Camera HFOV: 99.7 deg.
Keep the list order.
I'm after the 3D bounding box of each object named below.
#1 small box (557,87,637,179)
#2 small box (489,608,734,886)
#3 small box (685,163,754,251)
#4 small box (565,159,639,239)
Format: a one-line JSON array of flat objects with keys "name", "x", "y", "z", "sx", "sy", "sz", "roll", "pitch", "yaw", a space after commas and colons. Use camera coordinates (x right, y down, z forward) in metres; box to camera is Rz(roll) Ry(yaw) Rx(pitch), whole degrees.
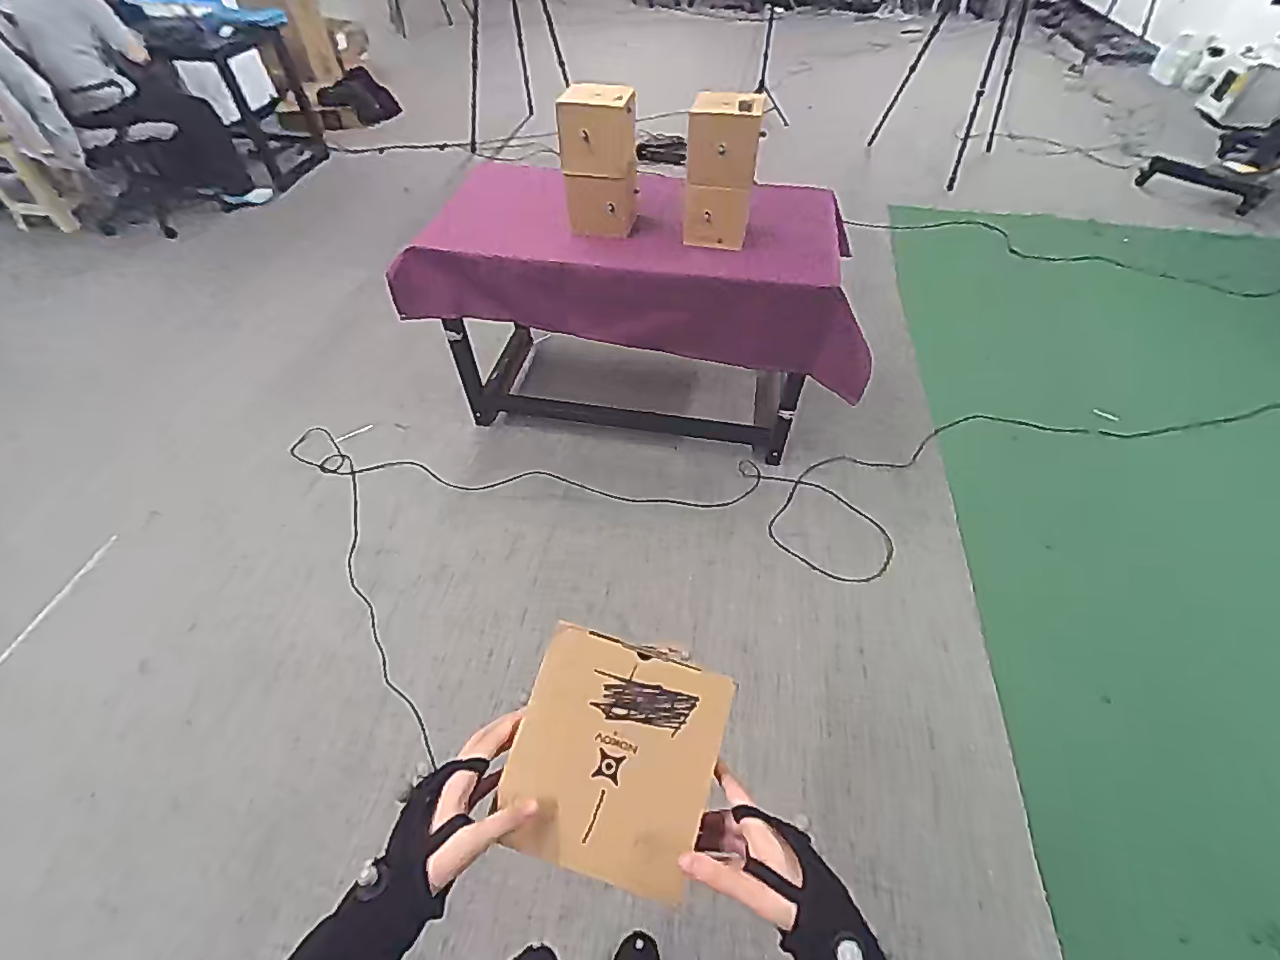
[{"name": "small box", "x": -0.108, "y": -0.927, "z": 1.447, "sx": 0.179, "sy": 0.176, "sz": 0.168, "roll": 9, "pitch": 51, "yaw": 7}, {"name": "small box", "x": -0.024, "y": 0.238, "z": 0.527, "sx": 0.168, "sy": 0.176, "sz": 0.179, "roll": 18, "pitch": 74, "yaw": 3}, {"name": "small box", "x": 0.224, "y": -0.770, "z": 1.531, "sx": 0.168, "sy": 0.176, "sz": 0.179, "roll": 10, "pitch": 50, "yaw": 8}, {"name": "small box", "x": -0.104, "y": -0.823, "z": 1.574, "sx": 0.179, "sy": 0.176, "sz": 0.168, "roll": 9, "pitch": 50, "yaw": 7}]
